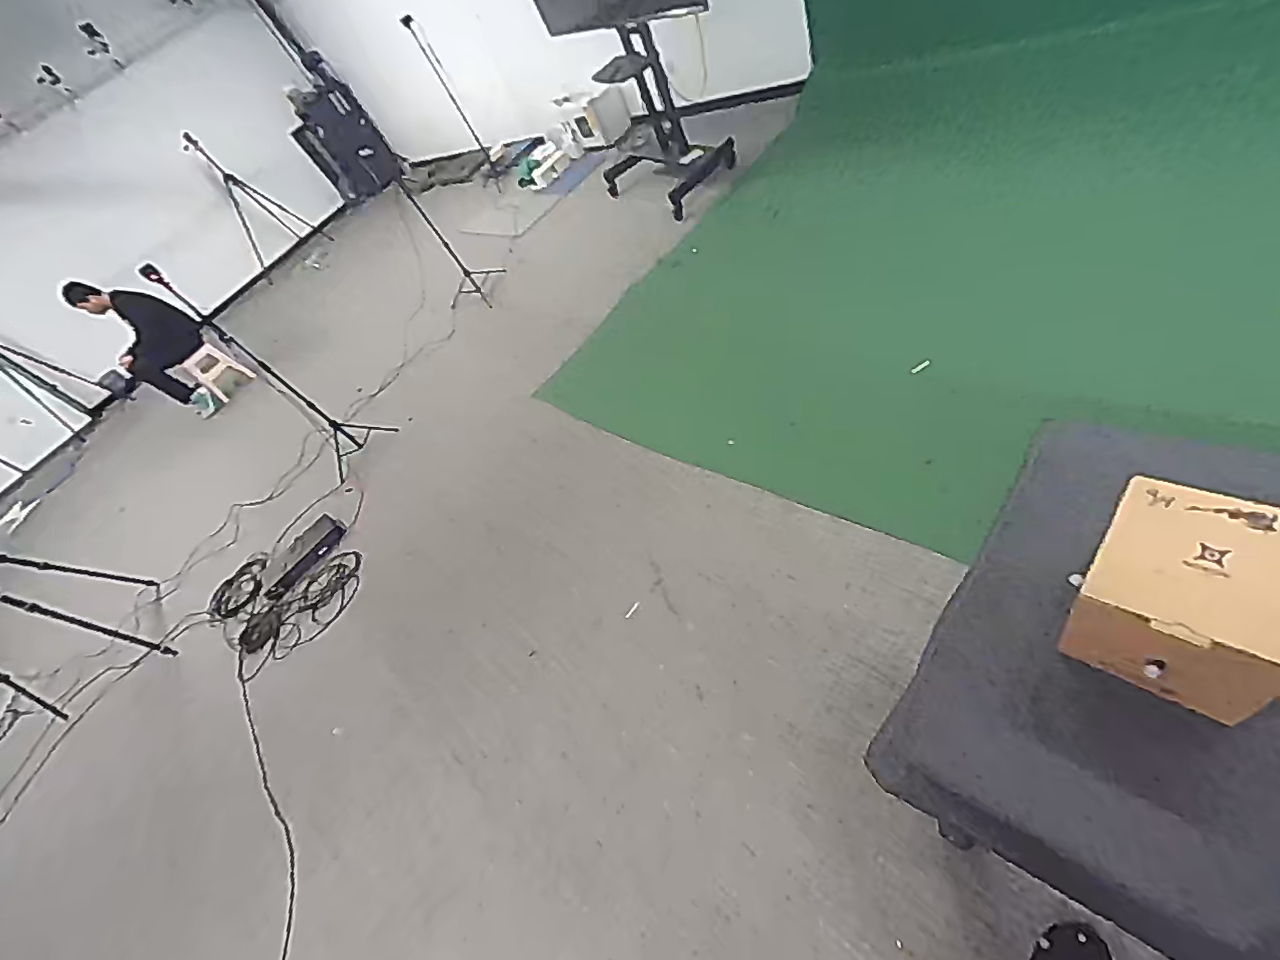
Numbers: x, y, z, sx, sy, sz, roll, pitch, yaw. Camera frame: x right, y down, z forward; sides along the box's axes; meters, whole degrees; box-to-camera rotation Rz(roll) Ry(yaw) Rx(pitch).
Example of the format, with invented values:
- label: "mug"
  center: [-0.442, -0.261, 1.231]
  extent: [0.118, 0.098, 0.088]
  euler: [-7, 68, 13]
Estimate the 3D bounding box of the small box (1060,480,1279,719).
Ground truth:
- label: "small box"
  center: [0.608, 0.136, 0.612]
  extent: [0.168, 0.176, 0.179]
  euler: [25, 69, 40]
